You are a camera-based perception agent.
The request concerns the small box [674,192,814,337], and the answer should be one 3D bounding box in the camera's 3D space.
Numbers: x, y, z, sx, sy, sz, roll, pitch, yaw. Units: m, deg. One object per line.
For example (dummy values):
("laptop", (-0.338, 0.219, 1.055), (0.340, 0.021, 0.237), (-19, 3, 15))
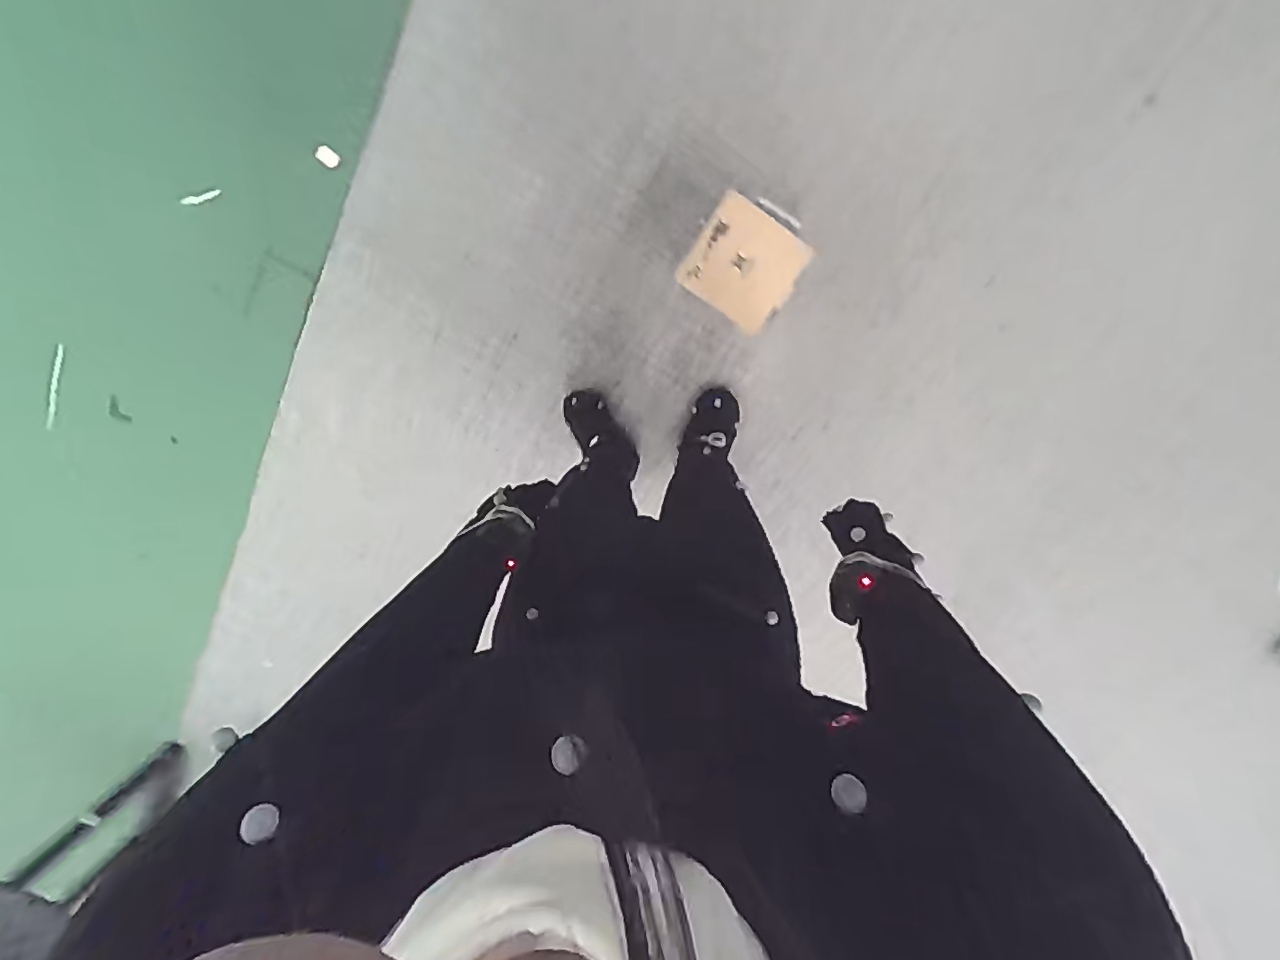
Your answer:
("small box", (0.185, -0.387, 0.978), (0.179, 0.176, 0.168), (36, 113, -5))
